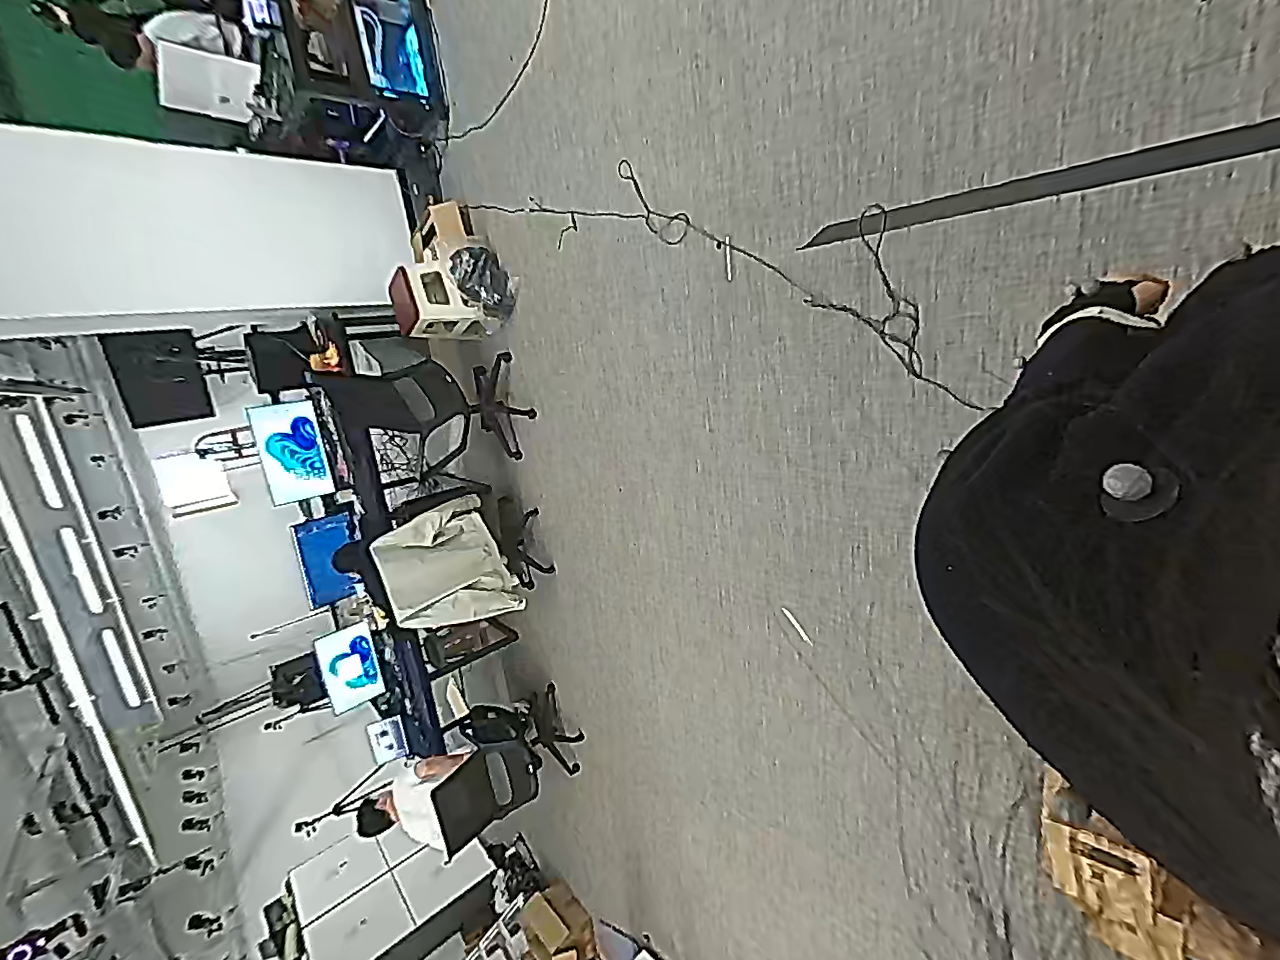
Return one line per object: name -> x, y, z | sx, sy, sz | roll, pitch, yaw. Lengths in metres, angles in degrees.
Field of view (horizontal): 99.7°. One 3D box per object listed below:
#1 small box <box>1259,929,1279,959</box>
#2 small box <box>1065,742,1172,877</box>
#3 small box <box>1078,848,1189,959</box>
small box -> 1.218, 0.949, 0.948 | 0.179, 0.176, 0.168 | 14, 115, 46
small box -> 1.115, 0.752, 1.261 | 0.168, 0.176, 0.179 | 2, 106, 50
small box -> 1.177, 1.005, 1.290 | 0.179, 0.176, 0.168 | 2, 107, 49
